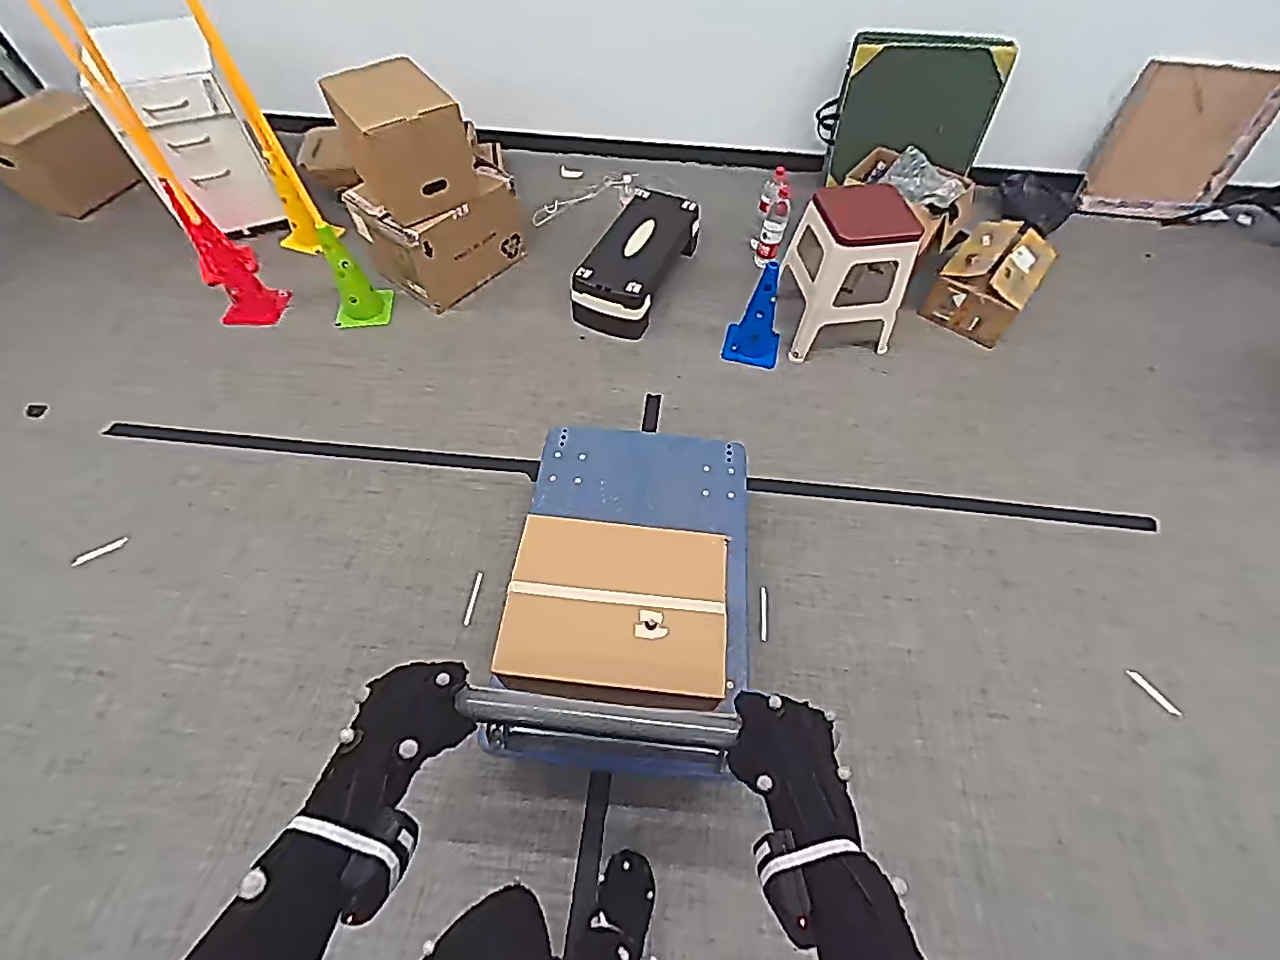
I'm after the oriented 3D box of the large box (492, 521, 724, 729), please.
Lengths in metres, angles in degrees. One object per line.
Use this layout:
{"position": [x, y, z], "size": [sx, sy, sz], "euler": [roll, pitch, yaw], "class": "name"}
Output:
{"position": [-0.052, 0.309, 1.119], "size": [0.408, 0.320, 0.320], "euler": [7, 58, 1], "class": "large box"}
